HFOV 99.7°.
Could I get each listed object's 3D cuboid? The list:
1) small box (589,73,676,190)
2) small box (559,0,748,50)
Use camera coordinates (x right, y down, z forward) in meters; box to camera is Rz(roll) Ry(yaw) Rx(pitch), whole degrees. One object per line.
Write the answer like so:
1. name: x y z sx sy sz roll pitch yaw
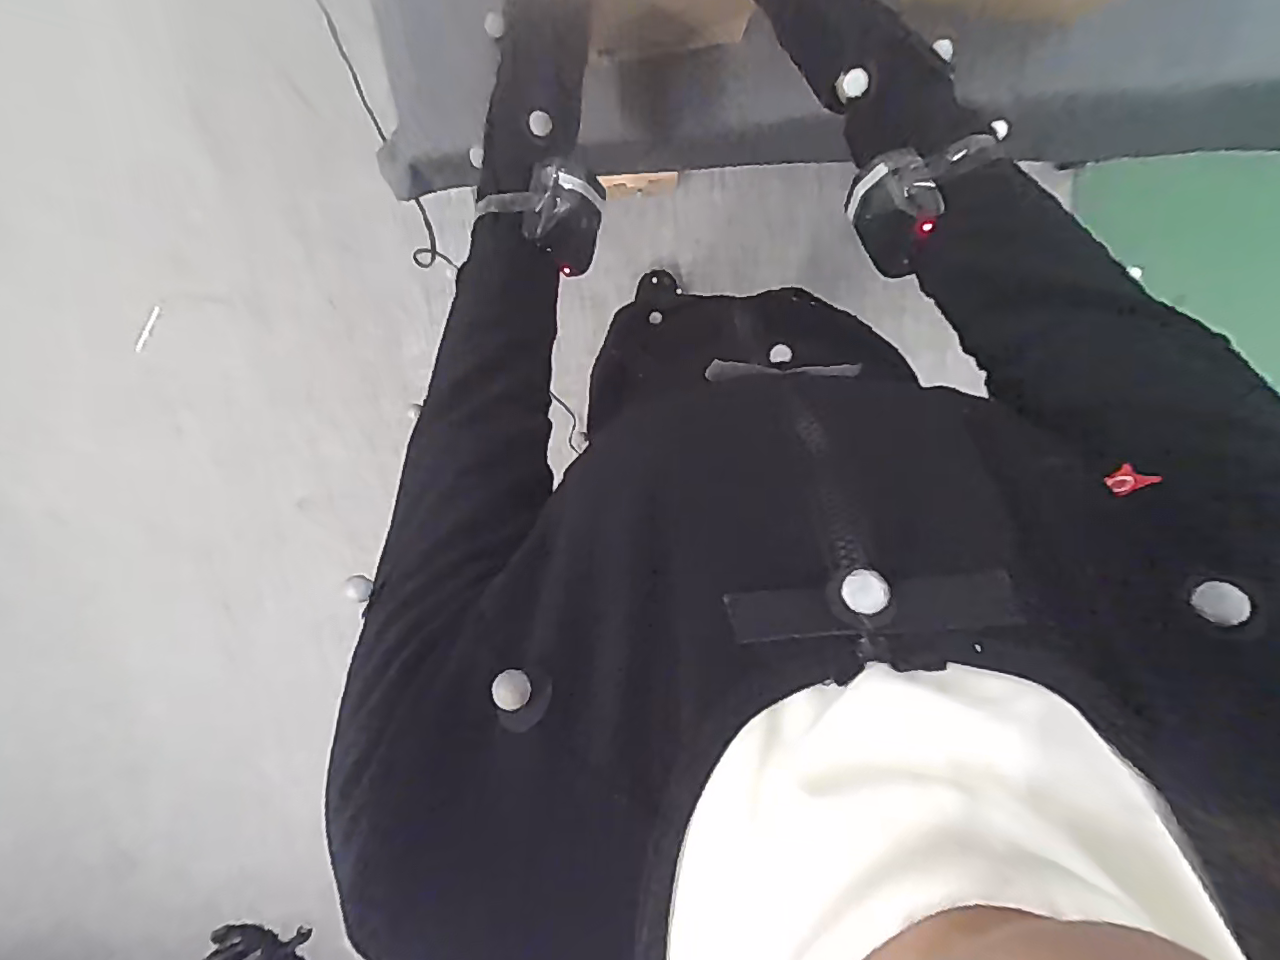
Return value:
1. small box: -0.010 -0.714 1.129 0.168 0.176 0.179 -3 111 3
2. small box: 0.008 -0.480 0.434 0.168 0.176 0.179 -5 109 3
